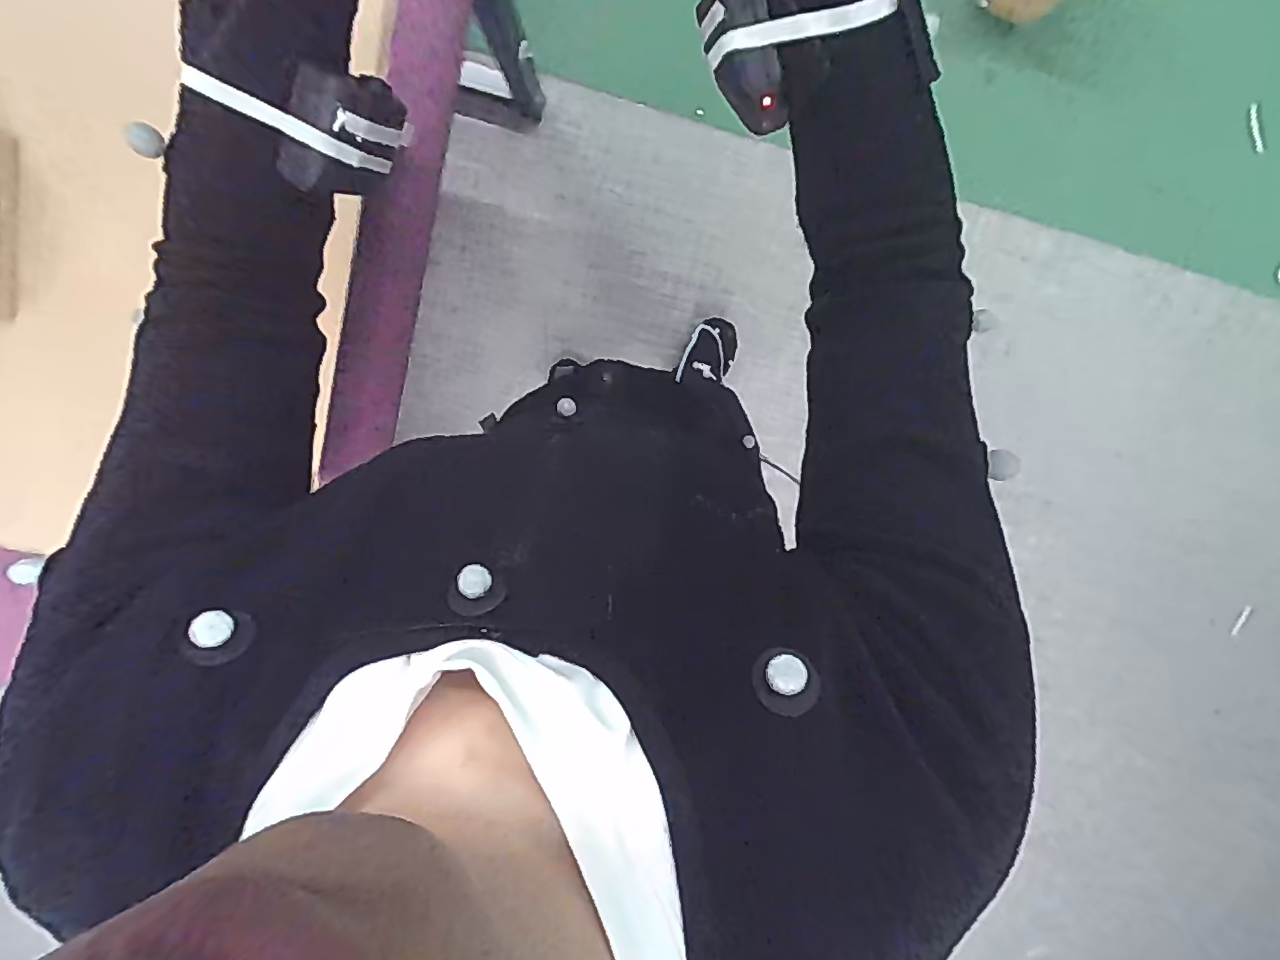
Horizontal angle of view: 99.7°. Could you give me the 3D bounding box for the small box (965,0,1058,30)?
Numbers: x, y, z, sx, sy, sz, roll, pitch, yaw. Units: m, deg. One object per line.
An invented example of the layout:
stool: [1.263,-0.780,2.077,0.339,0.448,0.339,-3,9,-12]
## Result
small box: [0.840,-1.124,1.161,0.168,0.176,0.179,15,105,-6]

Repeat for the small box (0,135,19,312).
small box: [-0.632,-0.220,0.389,0.179,0.176,0.168,16,104,-5]
